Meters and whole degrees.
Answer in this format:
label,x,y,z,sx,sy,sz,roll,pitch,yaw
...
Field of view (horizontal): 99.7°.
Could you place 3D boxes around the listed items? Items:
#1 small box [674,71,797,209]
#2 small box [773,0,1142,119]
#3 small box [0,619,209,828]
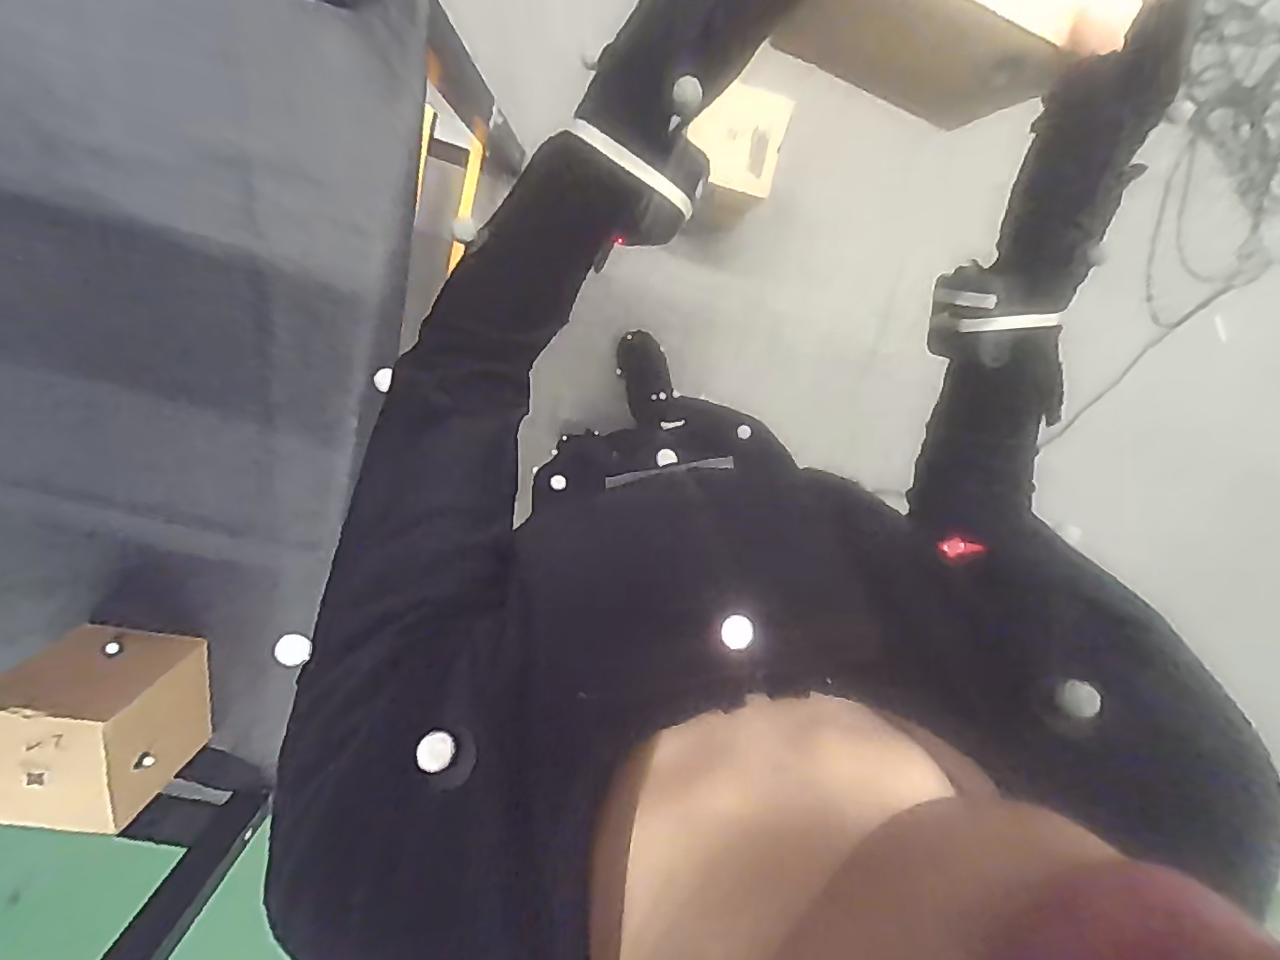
label,x,y,z,sx,sy,sz,roll,pitch,yaw
small box,0.172,-0.636,1.037,0.179,0.176,0.168,14,107,-5
small box,0.204,-0.355,0.333,0.179,0.176,0.168,19,114,-8
small box,-0.714,0.313,0.716,0.168,0.176,0.179,10,106,-5
